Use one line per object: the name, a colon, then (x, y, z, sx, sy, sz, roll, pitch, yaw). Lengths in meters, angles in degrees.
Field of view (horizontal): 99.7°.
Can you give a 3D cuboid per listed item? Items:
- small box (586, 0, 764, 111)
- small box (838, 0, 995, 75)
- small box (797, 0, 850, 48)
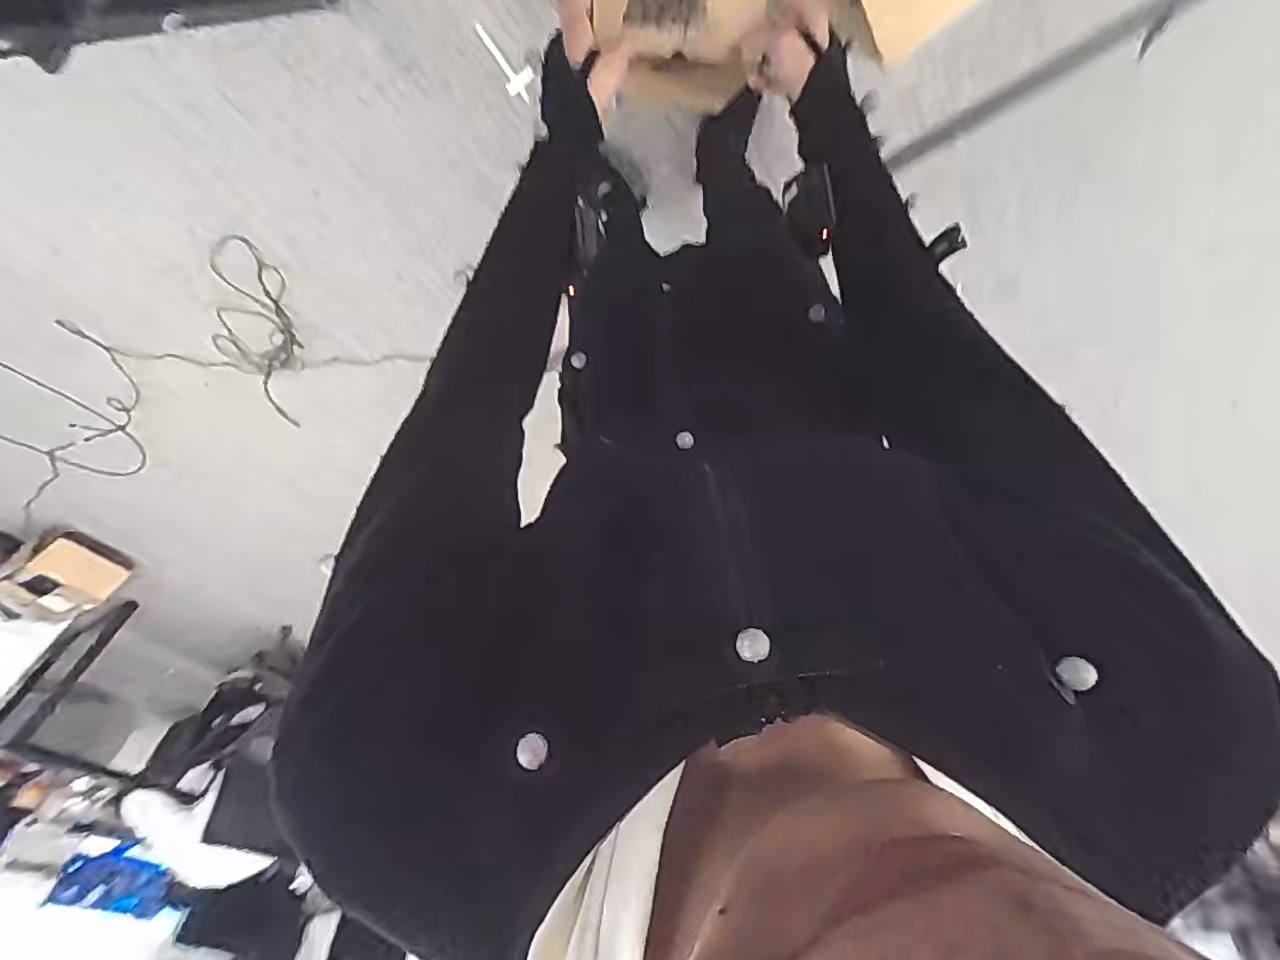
small box: (0.029, -0.506, 0.560, 0.168, 0.176, 0.179, 0, 111, -7)
small box: (0.378, -0.725, 0.760, 0.168, 0.176, 0.179, -27, 126, 26)
small box: (0.385, -0.952, 0.996, 0.179, 0.176, 0.168, -25, 127, 25)
